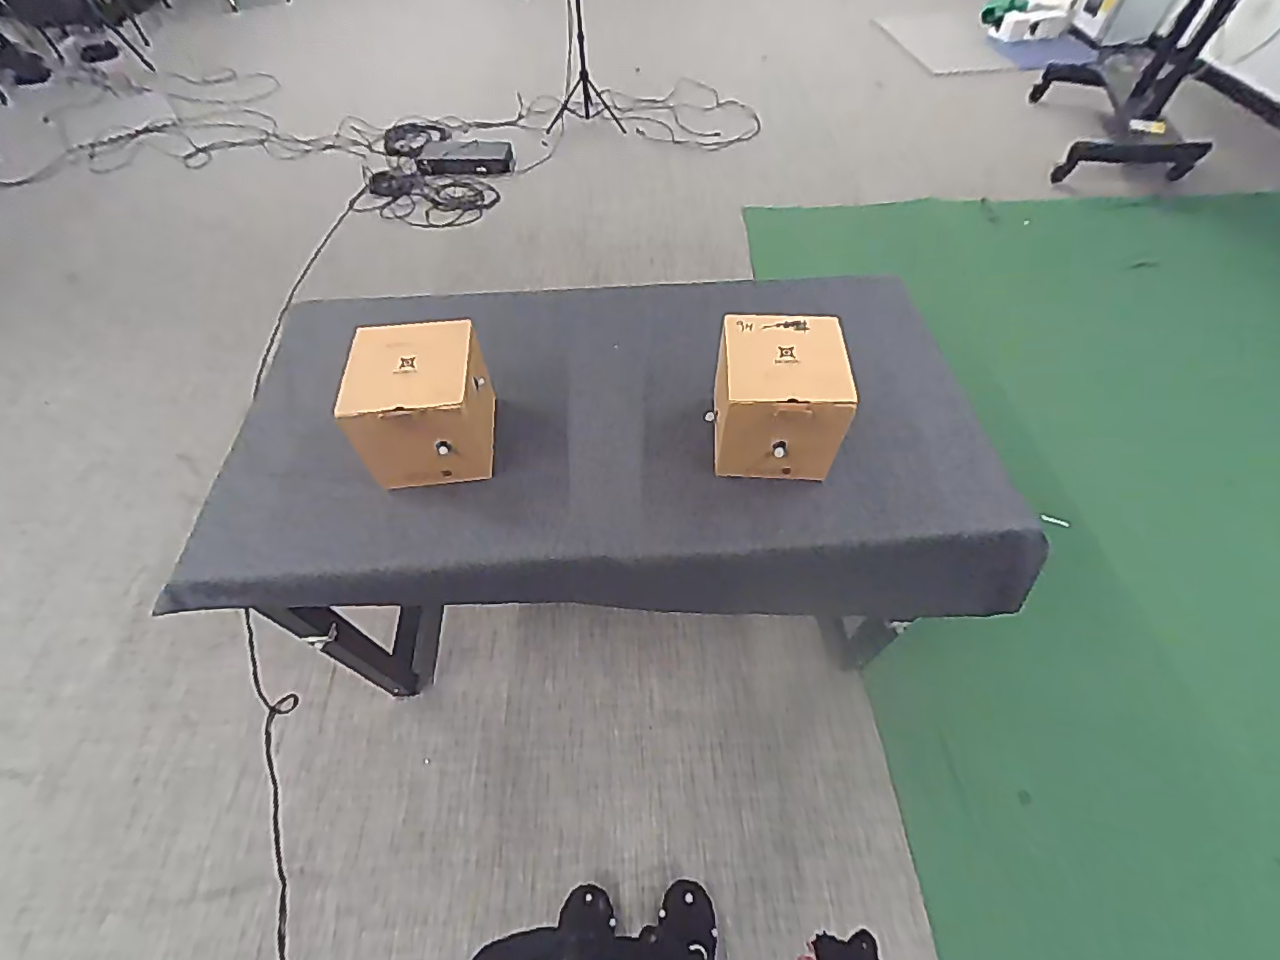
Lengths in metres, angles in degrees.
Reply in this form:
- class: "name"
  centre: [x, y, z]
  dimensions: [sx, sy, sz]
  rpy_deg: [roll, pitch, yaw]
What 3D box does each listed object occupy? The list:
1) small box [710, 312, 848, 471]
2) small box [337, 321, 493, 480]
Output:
- class: "small box"
  centre: [0.195, -0.127, 0.809]
  dimensions: [0.168, 0.176, 0.179]
  rpy_deg: [2, 57, 3]
- class: "small box"
  centre: [-0.322, -0.112, 0.816]
  dimensions: [0.168, 0.176, 0.179]
  rpy_deg: [-6, 54, -5]
